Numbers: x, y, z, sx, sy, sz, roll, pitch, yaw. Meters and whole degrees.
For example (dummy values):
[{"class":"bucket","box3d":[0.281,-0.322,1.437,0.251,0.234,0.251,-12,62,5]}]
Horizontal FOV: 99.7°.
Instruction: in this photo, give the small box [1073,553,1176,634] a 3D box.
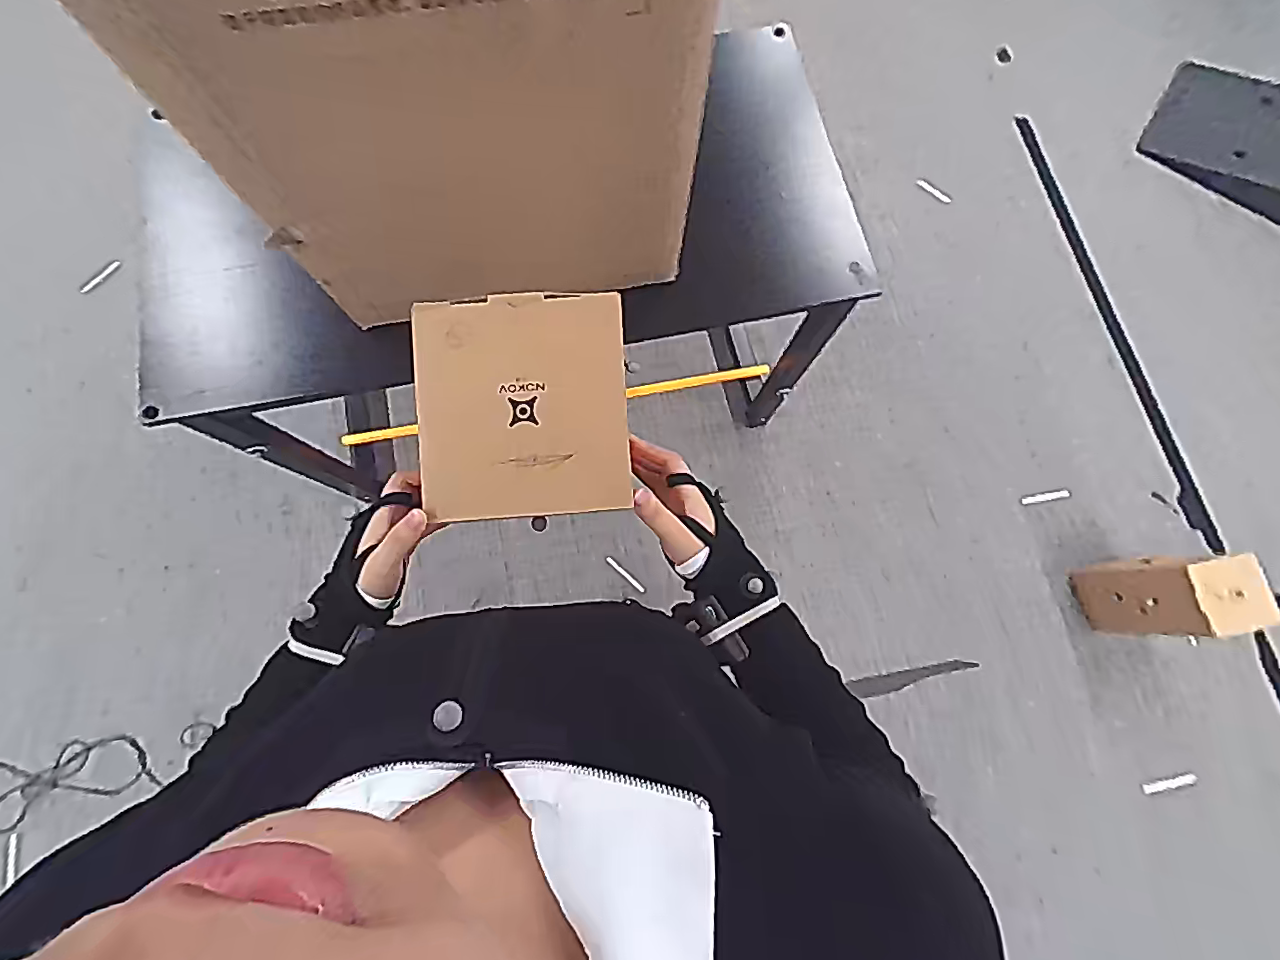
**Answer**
[{"class":"small box","box3d":[1.335,0.310,1.465,0.168,0.176,0.179,-14,78,-5]}]

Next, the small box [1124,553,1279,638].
[{"class":"small box","box3d":[1.342,0.277,1.303,0.179,0.176,0.168,-11,77,-4]}]

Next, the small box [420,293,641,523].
[{"class":"small box","box3d":[-0.088,-0.054,0.495,0.168,0.176,0.179,-3,89,-2]}]
